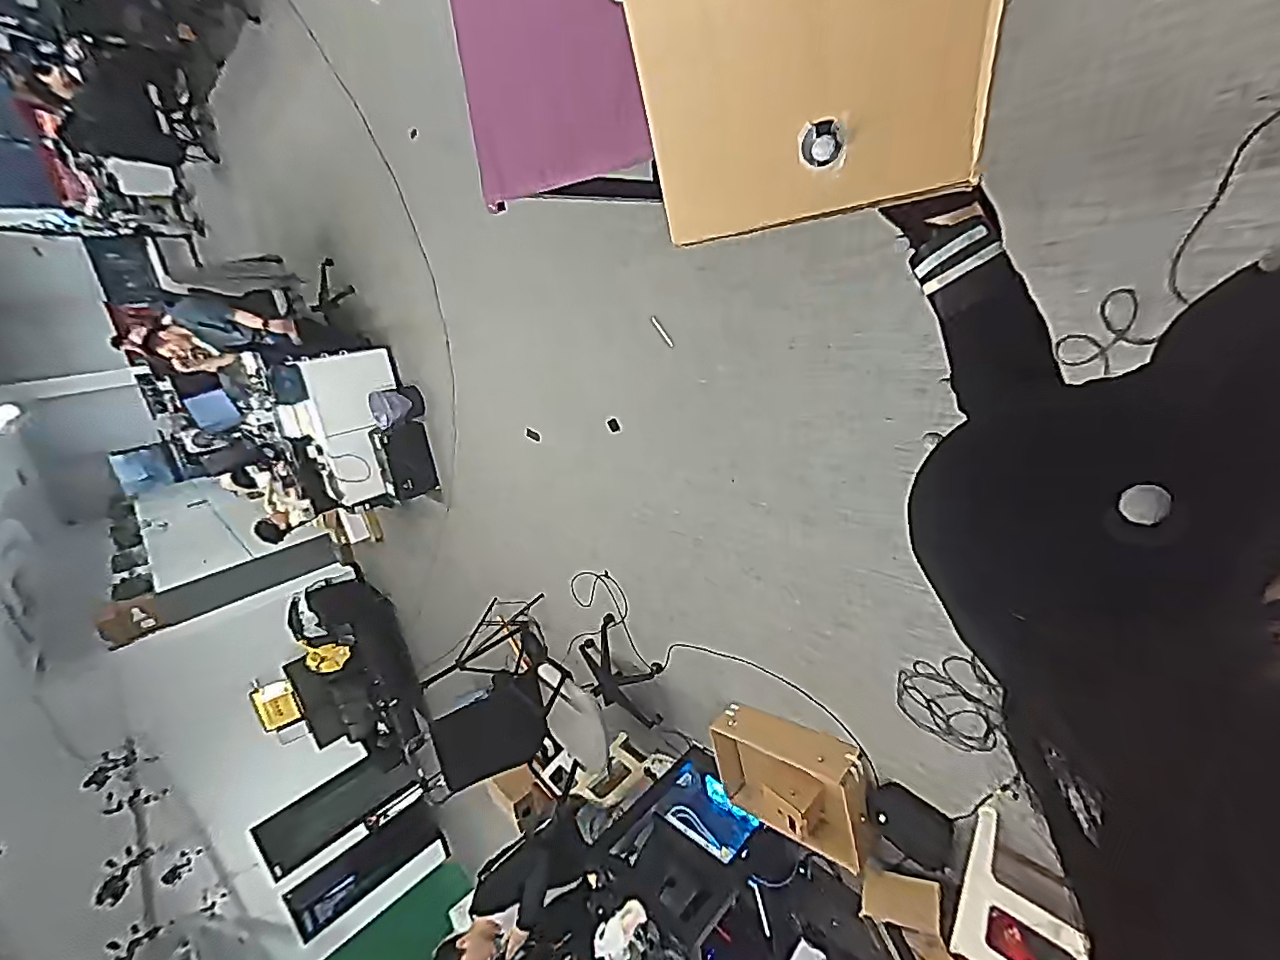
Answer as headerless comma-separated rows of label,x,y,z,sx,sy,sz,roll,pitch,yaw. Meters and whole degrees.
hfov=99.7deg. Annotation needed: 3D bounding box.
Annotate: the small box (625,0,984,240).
small box,0.094,-0.276,0.326,0.179,0.168,0.176,-4,133,17
